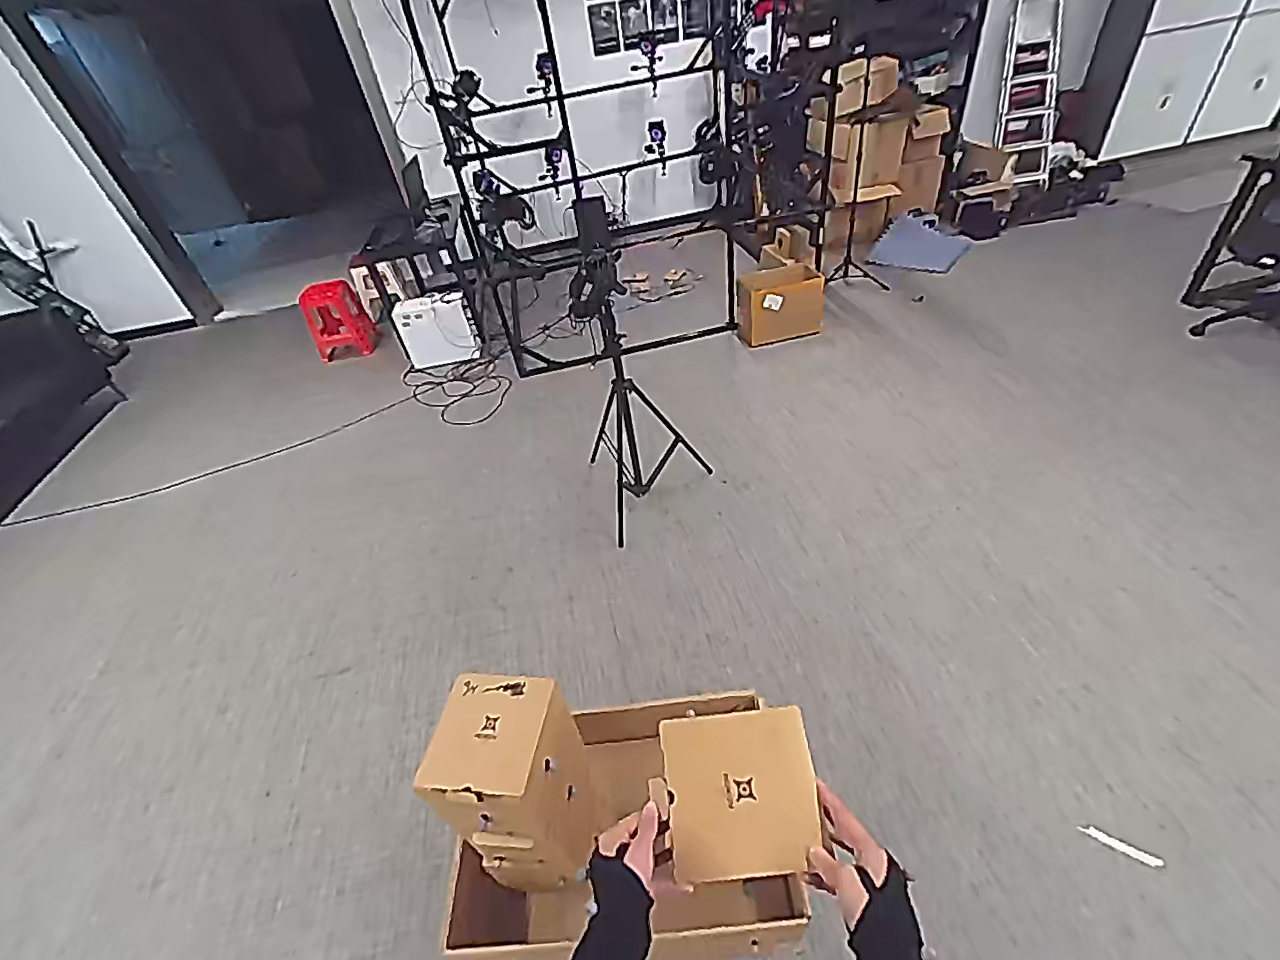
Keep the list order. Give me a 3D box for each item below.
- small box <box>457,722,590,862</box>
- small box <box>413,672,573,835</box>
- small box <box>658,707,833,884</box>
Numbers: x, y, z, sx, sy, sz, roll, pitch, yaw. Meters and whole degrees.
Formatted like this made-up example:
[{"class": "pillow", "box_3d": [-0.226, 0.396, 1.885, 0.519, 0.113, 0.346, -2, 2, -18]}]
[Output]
[{"class": "small box", "box_3d": [-0.192, 0.548, 0.953, 0.168, 0.176, 0.179, -3, 40, 9]}, {"class": "small box", "box_3d": [-0.212, 0.427, 0.844, 0.168, 0.176, 0.179, 0, 41, 11]}, {"class": "small box", "box_3d": [0.125, 0.398, 0.685, 0.179, 0.176, 0.168, -10, 55, 5]}]
